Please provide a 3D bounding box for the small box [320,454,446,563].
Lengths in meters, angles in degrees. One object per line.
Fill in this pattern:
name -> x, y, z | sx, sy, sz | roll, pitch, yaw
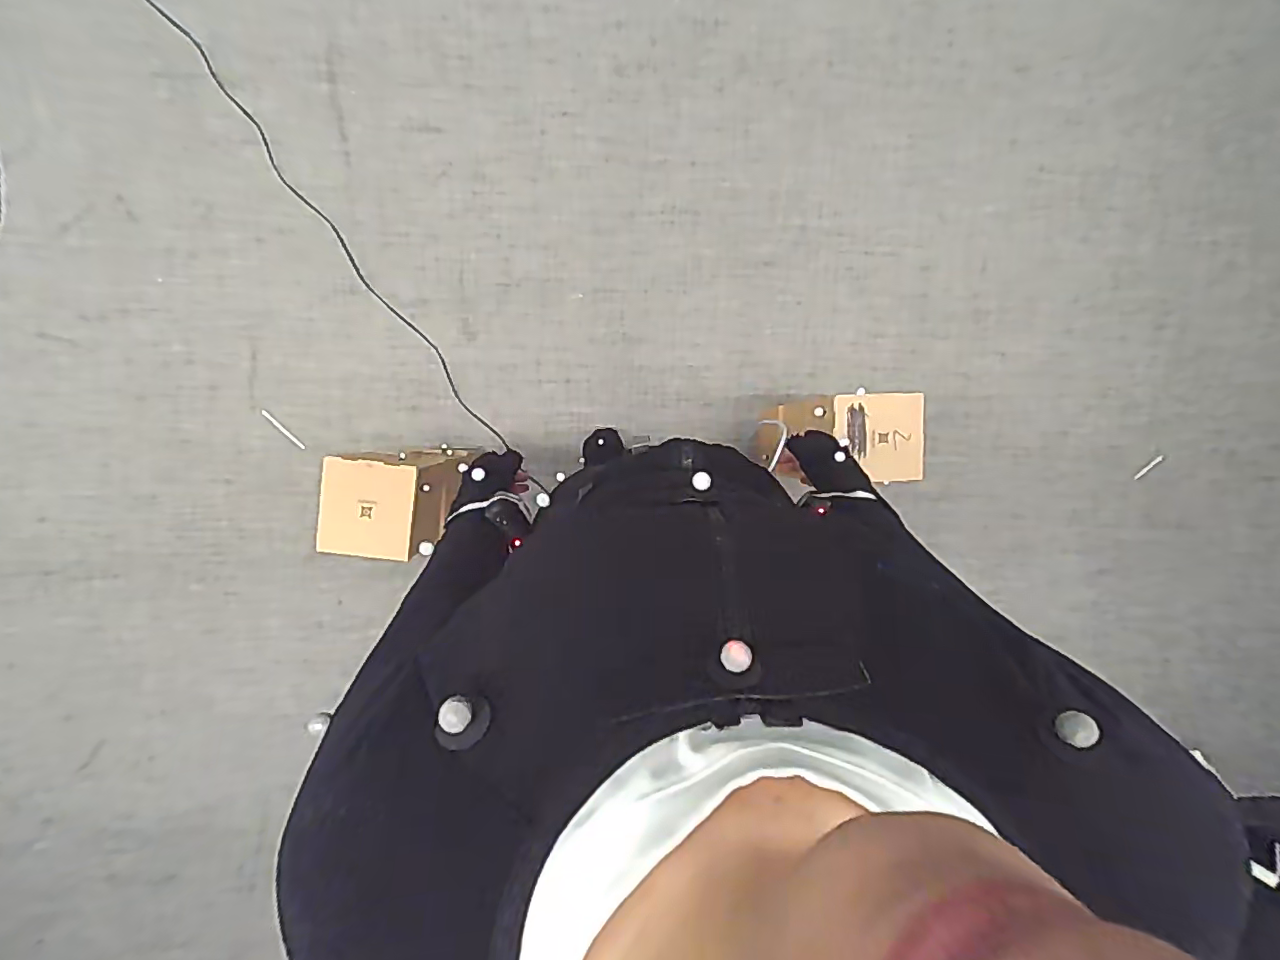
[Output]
small box -> -0.491, 0.048, 1.054 | 0.168, 0.176, 0.179 | 7, 94, -3

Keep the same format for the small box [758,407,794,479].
small box -> 0.414, -0.098, 1.419 | 0.168, 0.176, 0.179 | 2, 95, -4

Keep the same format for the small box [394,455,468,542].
small box -> -0.491, 0.035, 1.216 | 0.168, 0.176, 0.179 | 2, 96, -3

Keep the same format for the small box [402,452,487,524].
small box -> -0.495, 0.016, 1.382 | 0.168, 0.176, 0.179 | -1, 94, 0

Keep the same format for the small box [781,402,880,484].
small box -> 0.434, -0.086, 1.256 | 0.168, 0.176, 0.179 | 1, 95, -3
